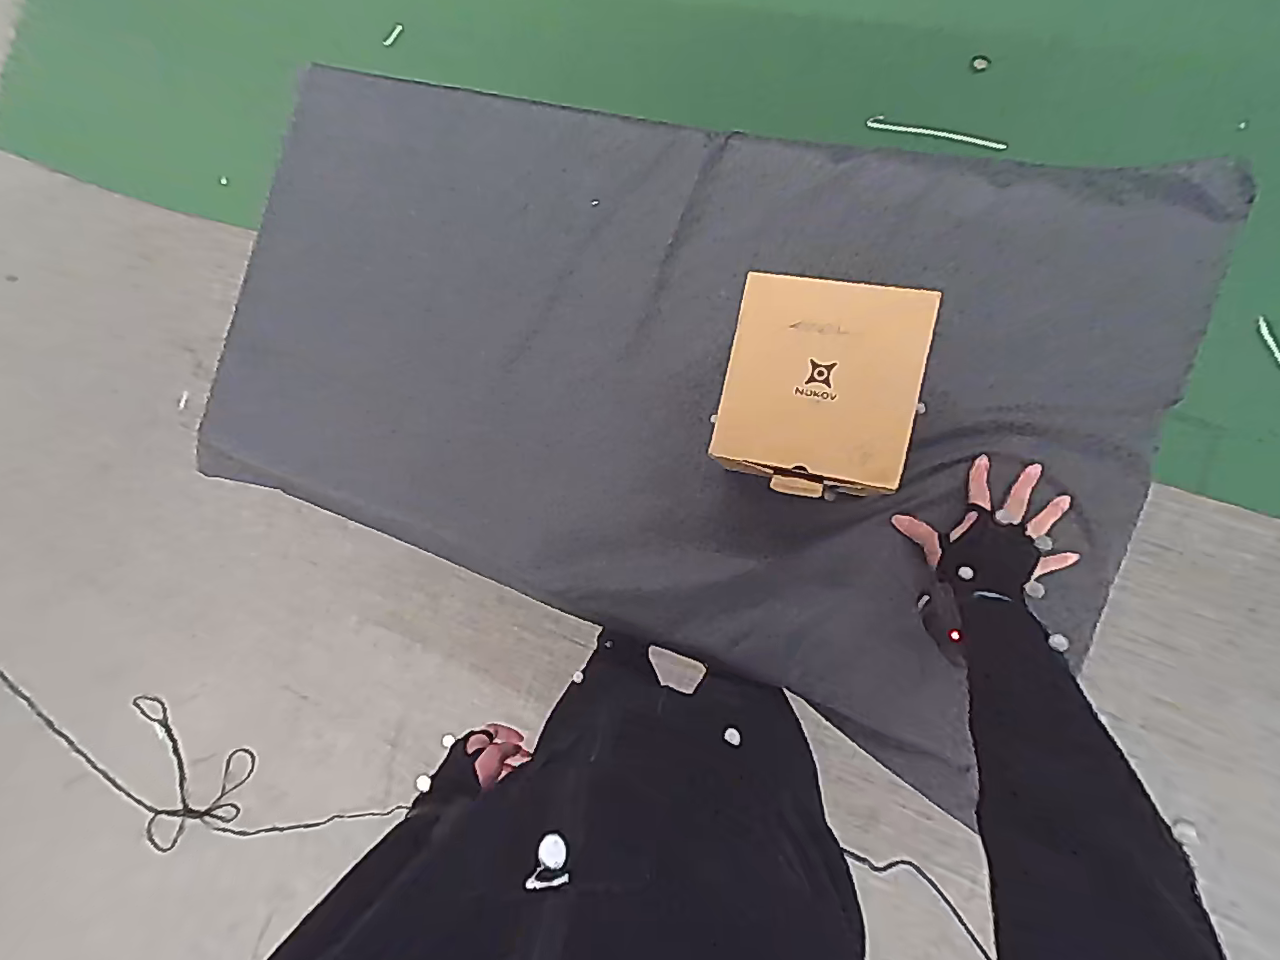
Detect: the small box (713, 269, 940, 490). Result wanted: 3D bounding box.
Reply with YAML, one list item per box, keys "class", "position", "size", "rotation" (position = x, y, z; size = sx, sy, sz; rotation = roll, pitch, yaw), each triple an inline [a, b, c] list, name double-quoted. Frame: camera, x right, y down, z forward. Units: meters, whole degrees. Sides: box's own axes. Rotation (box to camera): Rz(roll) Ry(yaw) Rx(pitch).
- class: "small box"
  position: [0.181, -0.090, 0.557]
  size: [0.168, 0.176, 0.179]
  rotation: [12, 89, 14]
